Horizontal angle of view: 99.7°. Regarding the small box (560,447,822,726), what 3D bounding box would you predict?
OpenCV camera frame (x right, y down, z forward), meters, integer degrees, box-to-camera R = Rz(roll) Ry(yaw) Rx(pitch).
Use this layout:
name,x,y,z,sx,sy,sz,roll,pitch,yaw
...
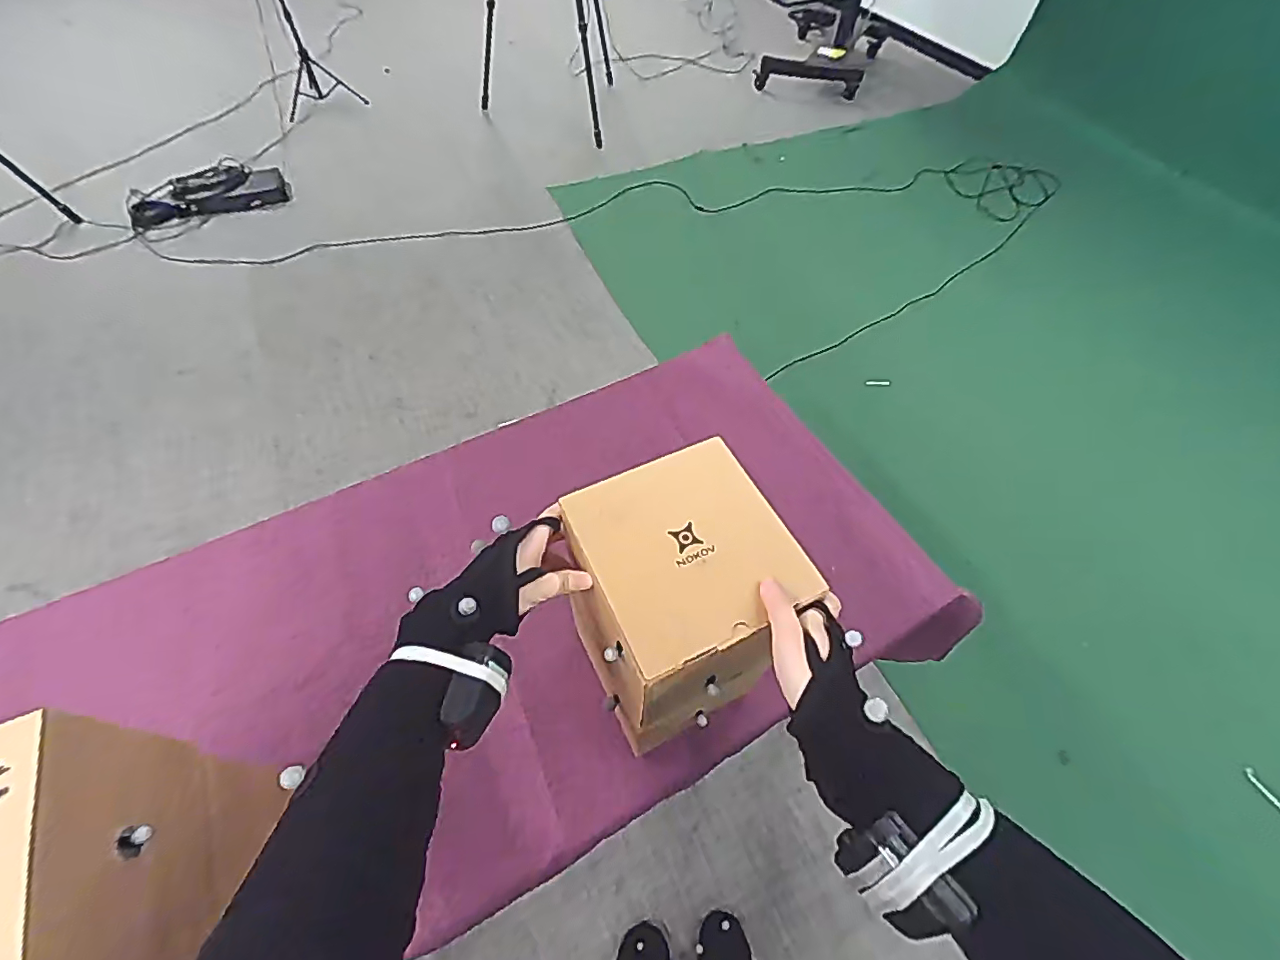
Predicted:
name,x,y,z,sx,sy,sz,roll,pitch,yaw
small box,0.034,0.104,0.516,0.168,0.176,0.179,-22,59,-15

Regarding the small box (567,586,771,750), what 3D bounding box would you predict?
name,x,y,z,sx,sy,sz,roll,pitch,yaw
small box,0.028,0.201,0.648,0.168,0.176,0.179,-22,59,-16
